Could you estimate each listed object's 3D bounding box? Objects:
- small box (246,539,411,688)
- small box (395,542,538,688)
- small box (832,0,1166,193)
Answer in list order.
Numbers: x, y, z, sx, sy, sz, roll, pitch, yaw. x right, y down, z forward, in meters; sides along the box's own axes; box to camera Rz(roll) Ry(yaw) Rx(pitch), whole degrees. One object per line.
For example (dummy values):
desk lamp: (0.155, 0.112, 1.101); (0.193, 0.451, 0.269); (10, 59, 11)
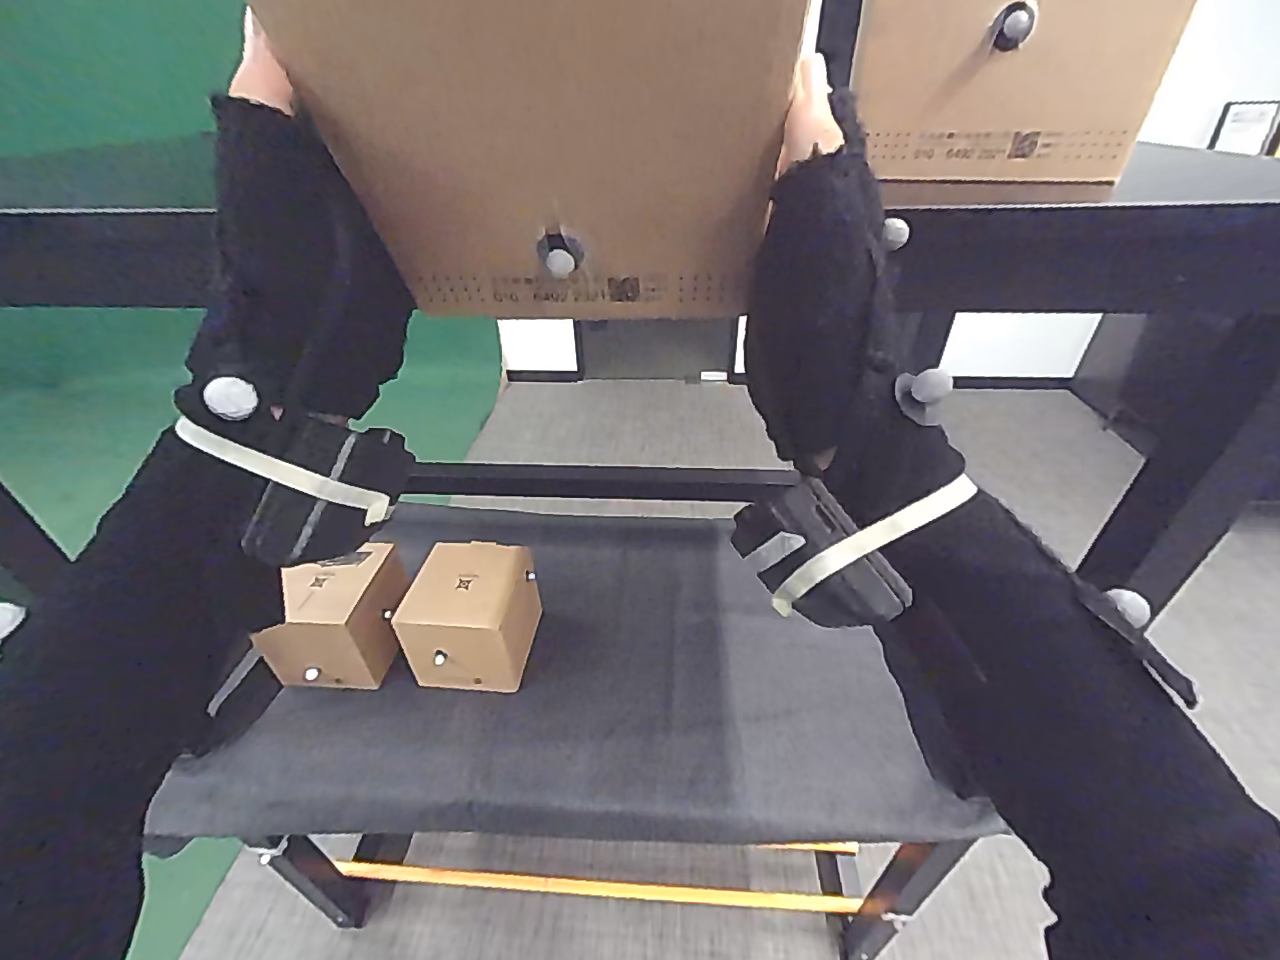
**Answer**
small box: (-0.502, 0.222, 0.913); (0.168, 0.176, 0.179); (2, 36, 3)
small box: (-0.275, 0.226, 0.907); (0.168, 0.176, 0.179); (2, 36, 4)
small box: (0.239, -0.311, 0.388); (0.168, 0.176, 0.179); (8, 37, 12)
